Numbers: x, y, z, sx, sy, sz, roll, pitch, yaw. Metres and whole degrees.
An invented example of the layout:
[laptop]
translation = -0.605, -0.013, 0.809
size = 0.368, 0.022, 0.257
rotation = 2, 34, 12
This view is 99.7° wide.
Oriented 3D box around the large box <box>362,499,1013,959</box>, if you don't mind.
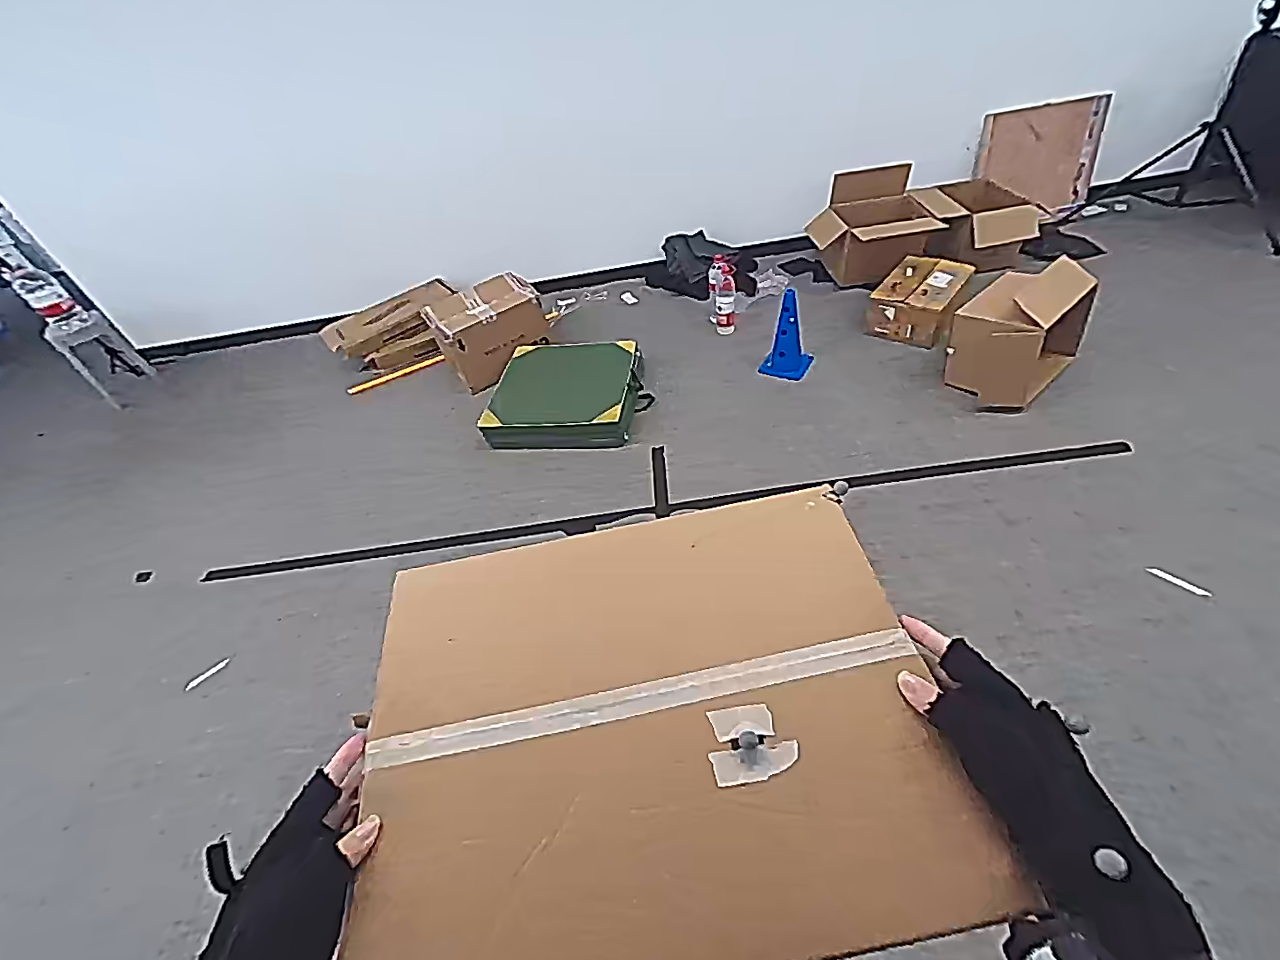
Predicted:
[large box]
translation = 0.020, 0.265, 0.522
size = 0.408, 0.320, 0.320
rotation = -11, 50, -2
